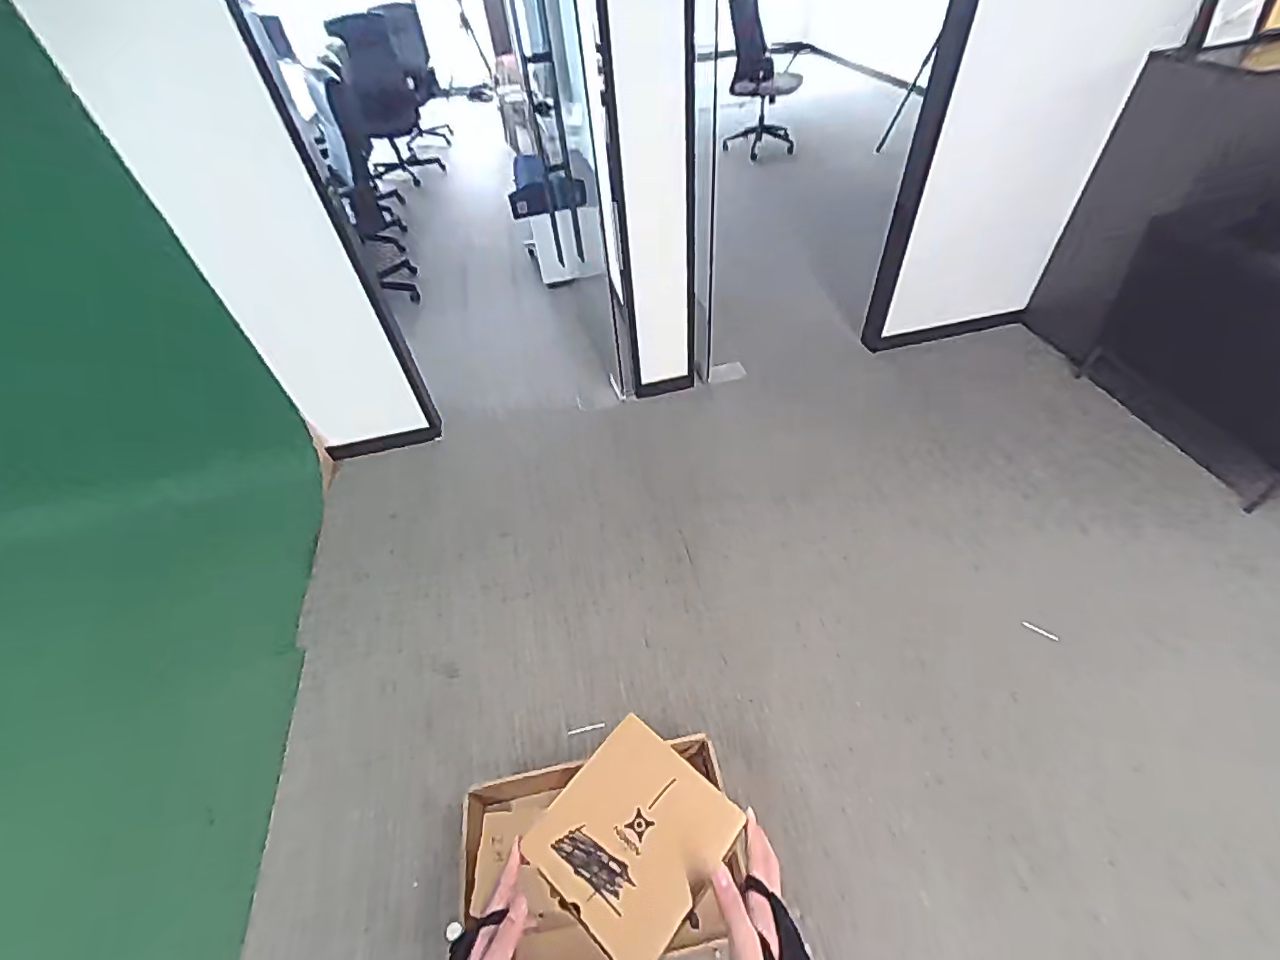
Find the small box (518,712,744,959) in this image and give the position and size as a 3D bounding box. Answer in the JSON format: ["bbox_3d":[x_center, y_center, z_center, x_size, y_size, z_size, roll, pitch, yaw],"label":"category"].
[{"bbox_3d":[-0.003,0.407,0.604,0.168,0.176,0.179,32,57,28],"label":"small box"}]
